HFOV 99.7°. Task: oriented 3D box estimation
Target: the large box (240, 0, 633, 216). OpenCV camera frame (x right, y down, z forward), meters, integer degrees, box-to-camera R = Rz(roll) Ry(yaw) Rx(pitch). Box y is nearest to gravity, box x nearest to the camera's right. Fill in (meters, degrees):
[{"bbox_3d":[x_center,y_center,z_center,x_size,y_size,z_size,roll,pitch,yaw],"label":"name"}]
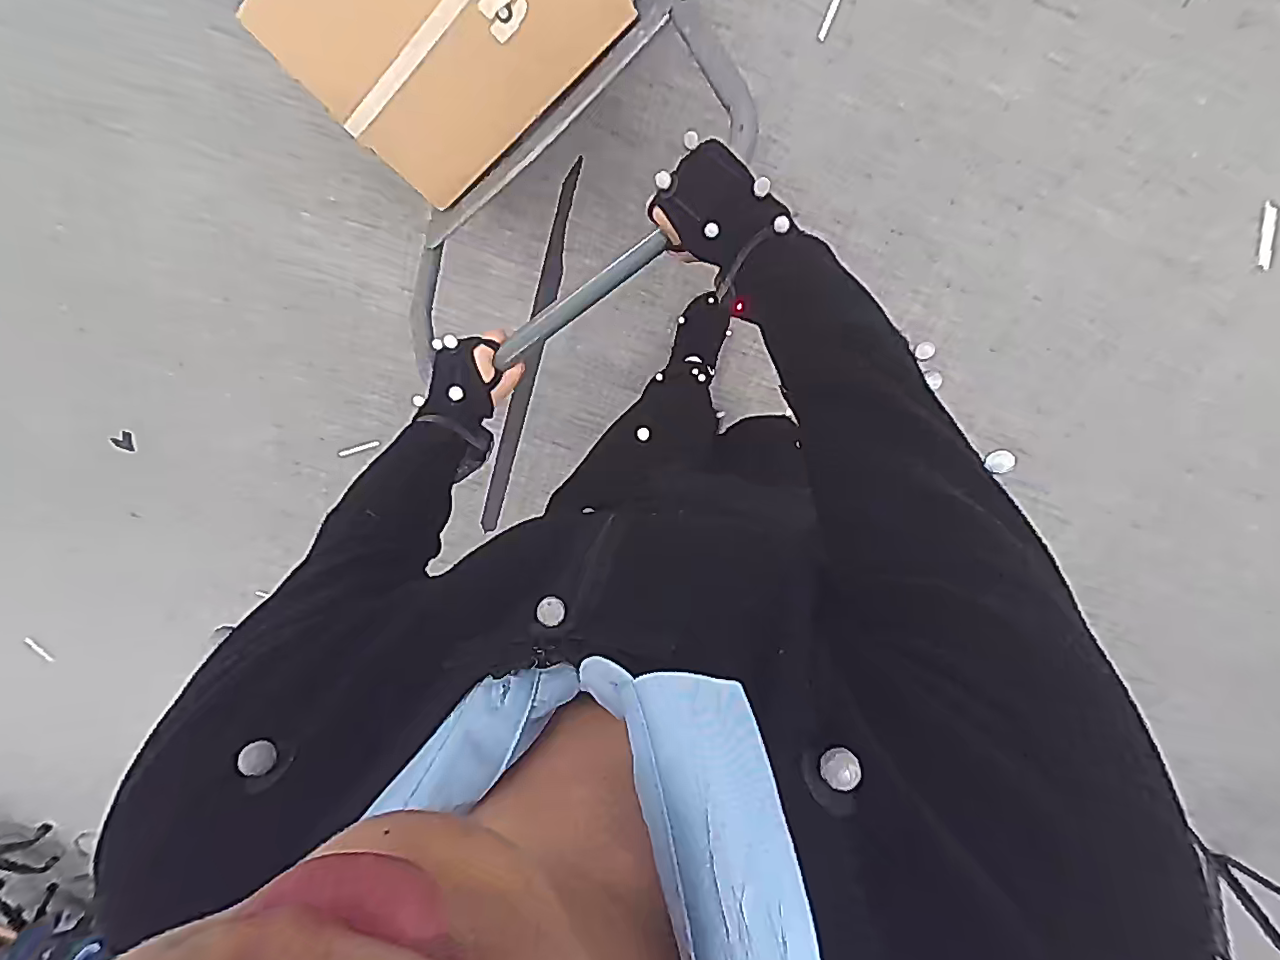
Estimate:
[{"bbox_3d":[-0.267,-0.690,0.780,0.408,0.320,0.320,-31,134,24],"label":"large box"}]
